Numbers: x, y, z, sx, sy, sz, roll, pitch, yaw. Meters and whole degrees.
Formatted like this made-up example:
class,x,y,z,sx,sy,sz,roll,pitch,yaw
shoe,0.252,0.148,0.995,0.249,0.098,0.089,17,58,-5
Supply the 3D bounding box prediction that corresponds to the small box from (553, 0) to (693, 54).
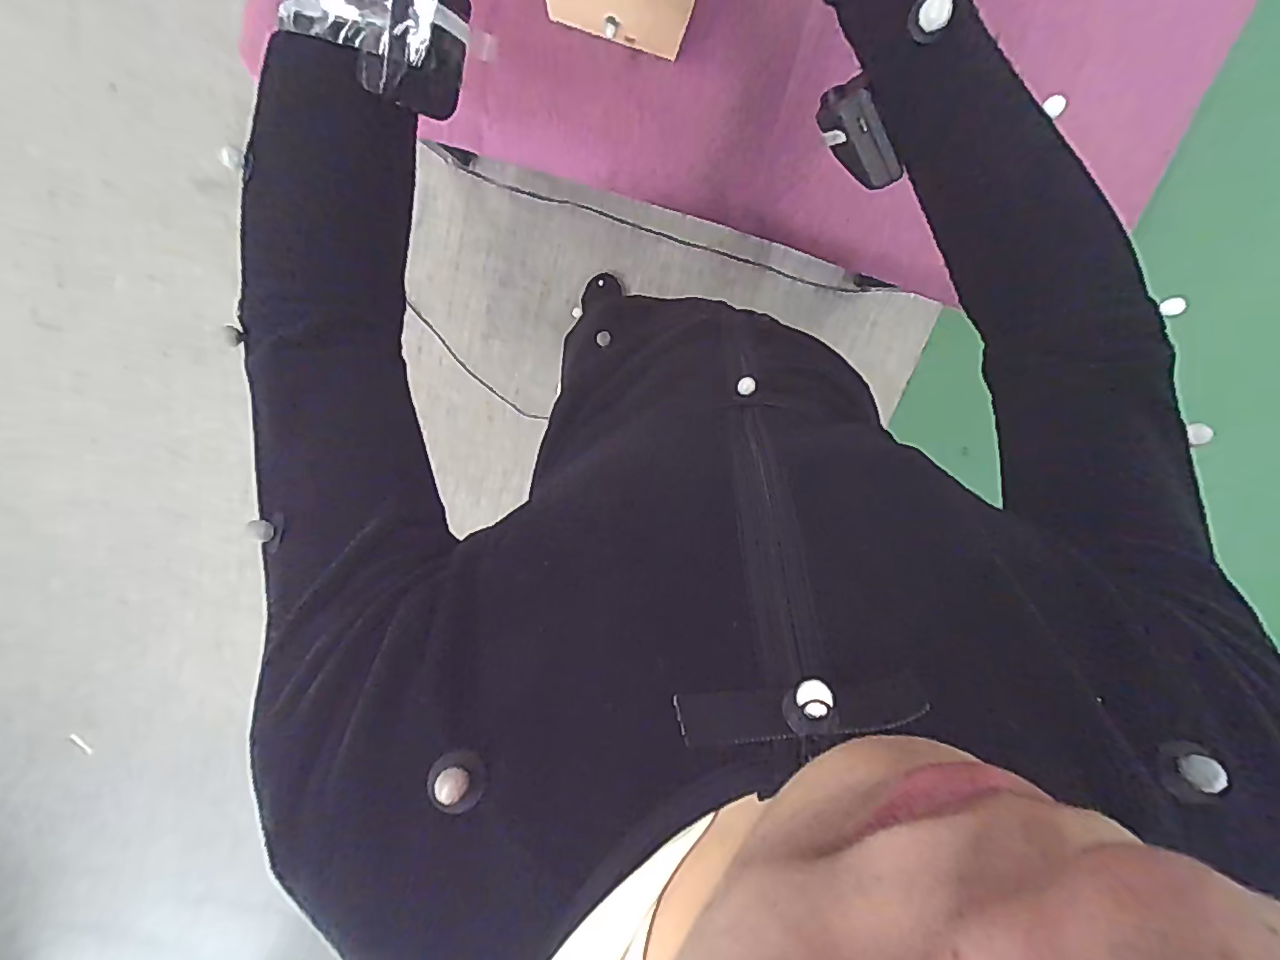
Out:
class,x,y,z,sx,sy,sz,roll,pitch,yaw
small box,-0.007,-0.611,0.580,0.168,0.176,0.179,13,109,-8
